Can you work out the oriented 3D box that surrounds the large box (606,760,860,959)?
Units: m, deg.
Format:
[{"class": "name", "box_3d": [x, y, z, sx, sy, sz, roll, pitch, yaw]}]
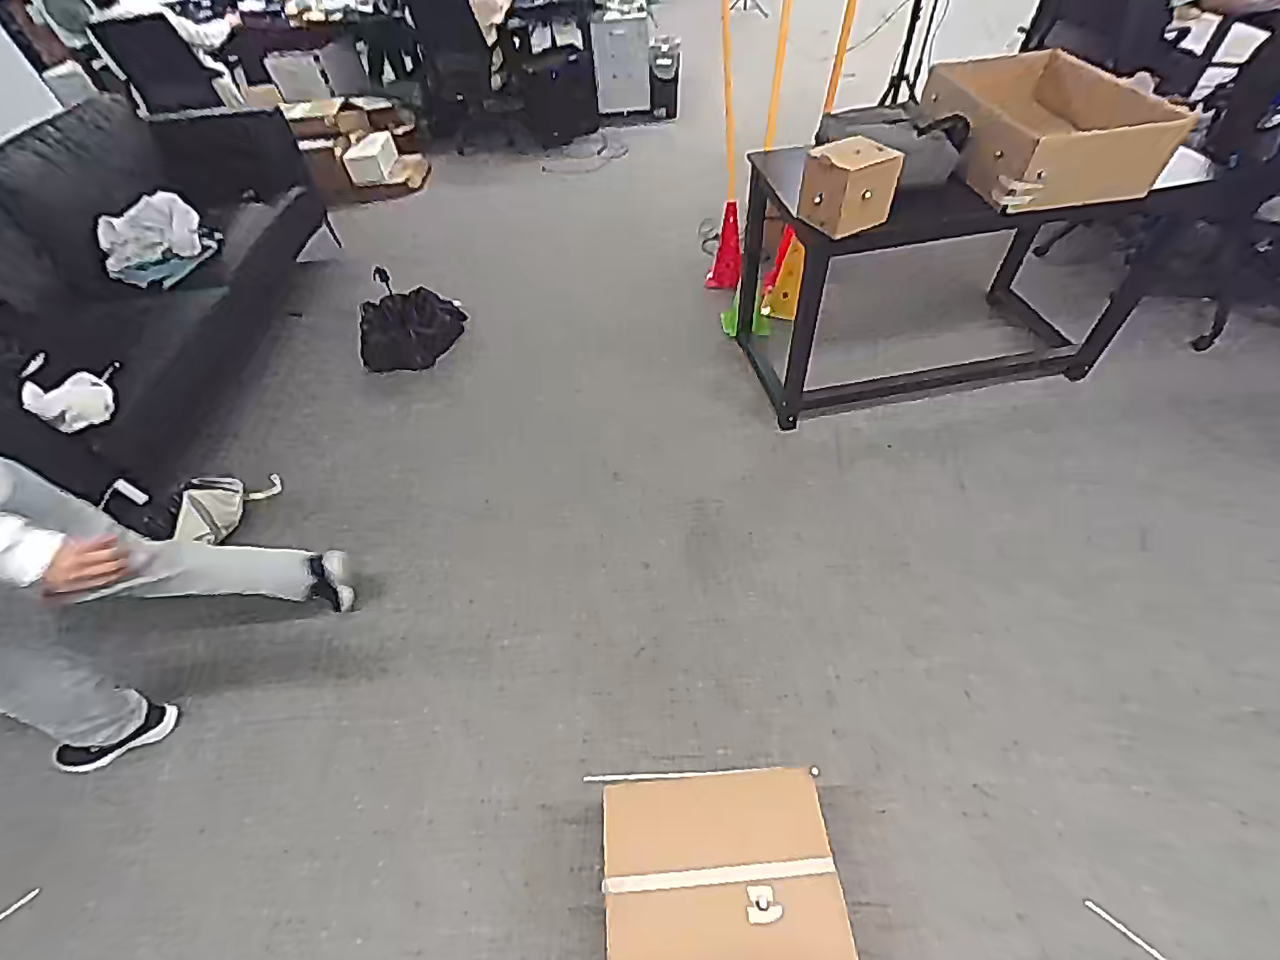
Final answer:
[{"class": "large box", "box_3d": [0.154, 0.776, 1.064, 0.408, 0.320, 0.320, -6, 51, 1]}]
